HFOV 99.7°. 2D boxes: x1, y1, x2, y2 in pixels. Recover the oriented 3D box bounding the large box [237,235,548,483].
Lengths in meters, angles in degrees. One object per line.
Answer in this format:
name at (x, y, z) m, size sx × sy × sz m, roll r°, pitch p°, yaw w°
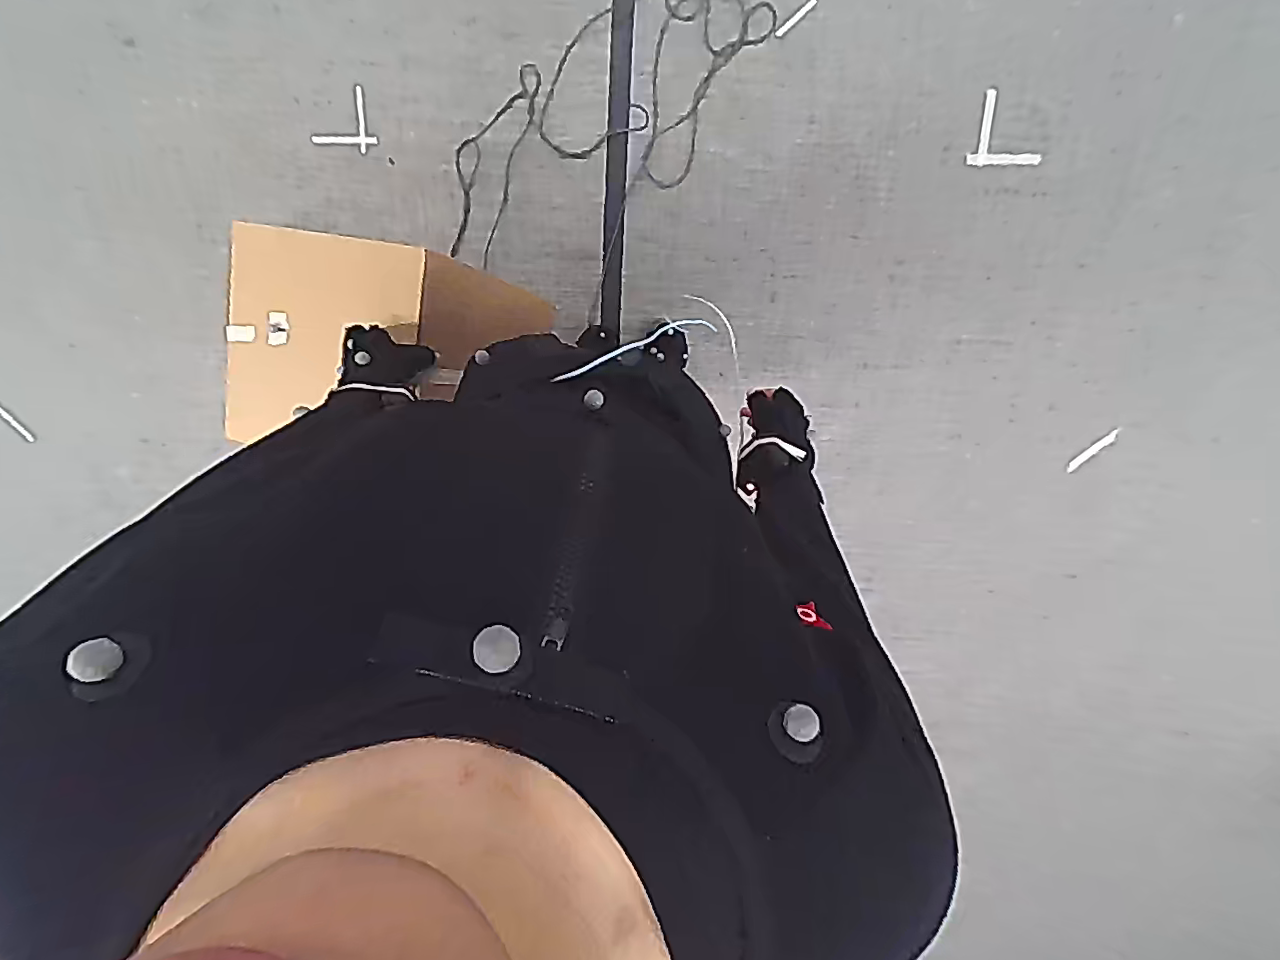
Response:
large box at (-0.398, -0.206, 0.944) m, size 0.320 × 0.408 × 0.320 m, roll 14°, pitch 102°, yaw 12°
